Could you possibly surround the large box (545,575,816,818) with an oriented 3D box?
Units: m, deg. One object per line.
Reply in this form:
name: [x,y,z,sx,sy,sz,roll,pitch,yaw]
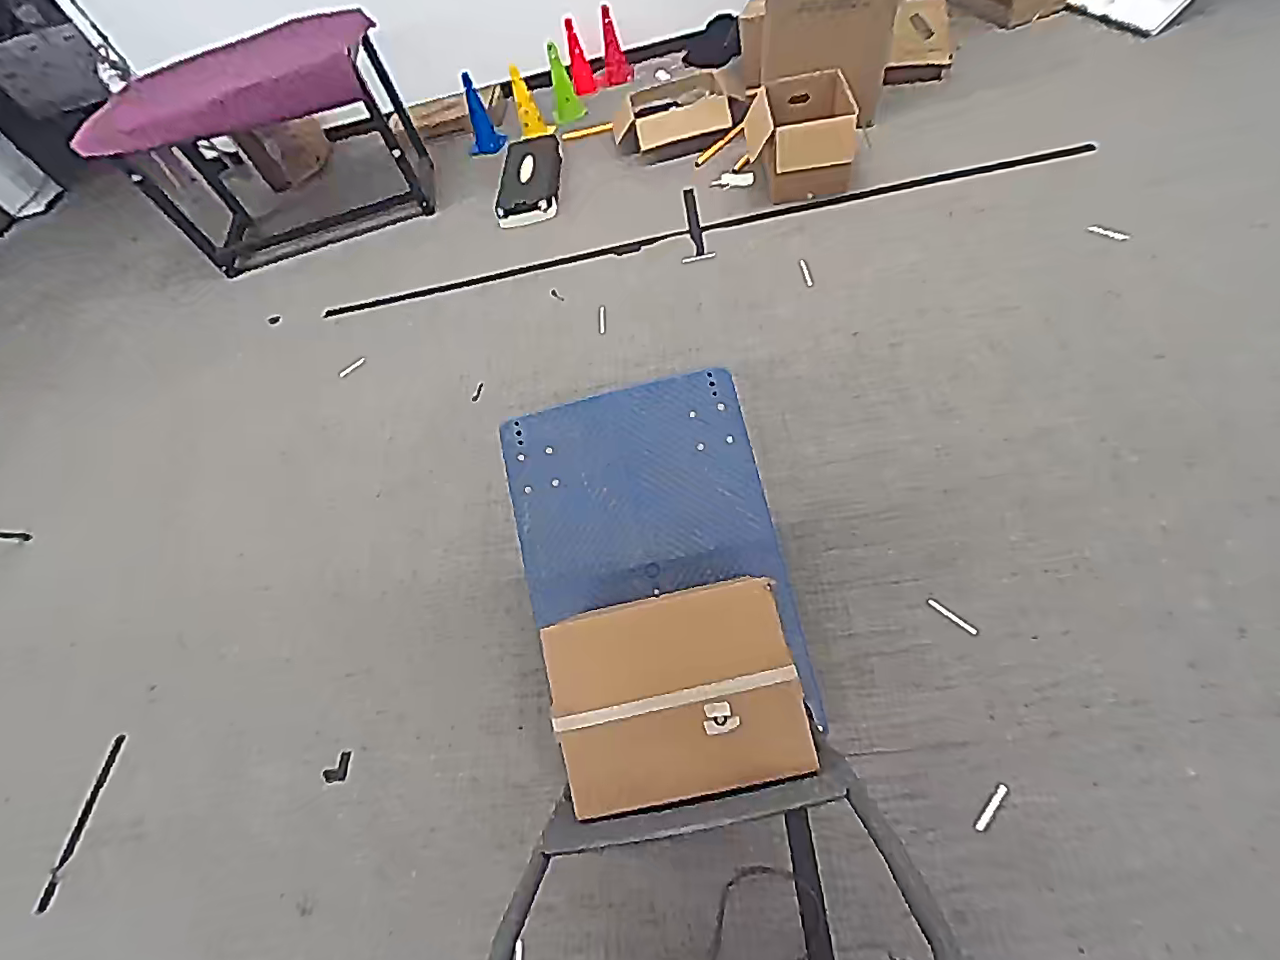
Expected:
large box: [0.071,0.387,1.058,0.408,0.320,0.320,-15,80,2]
